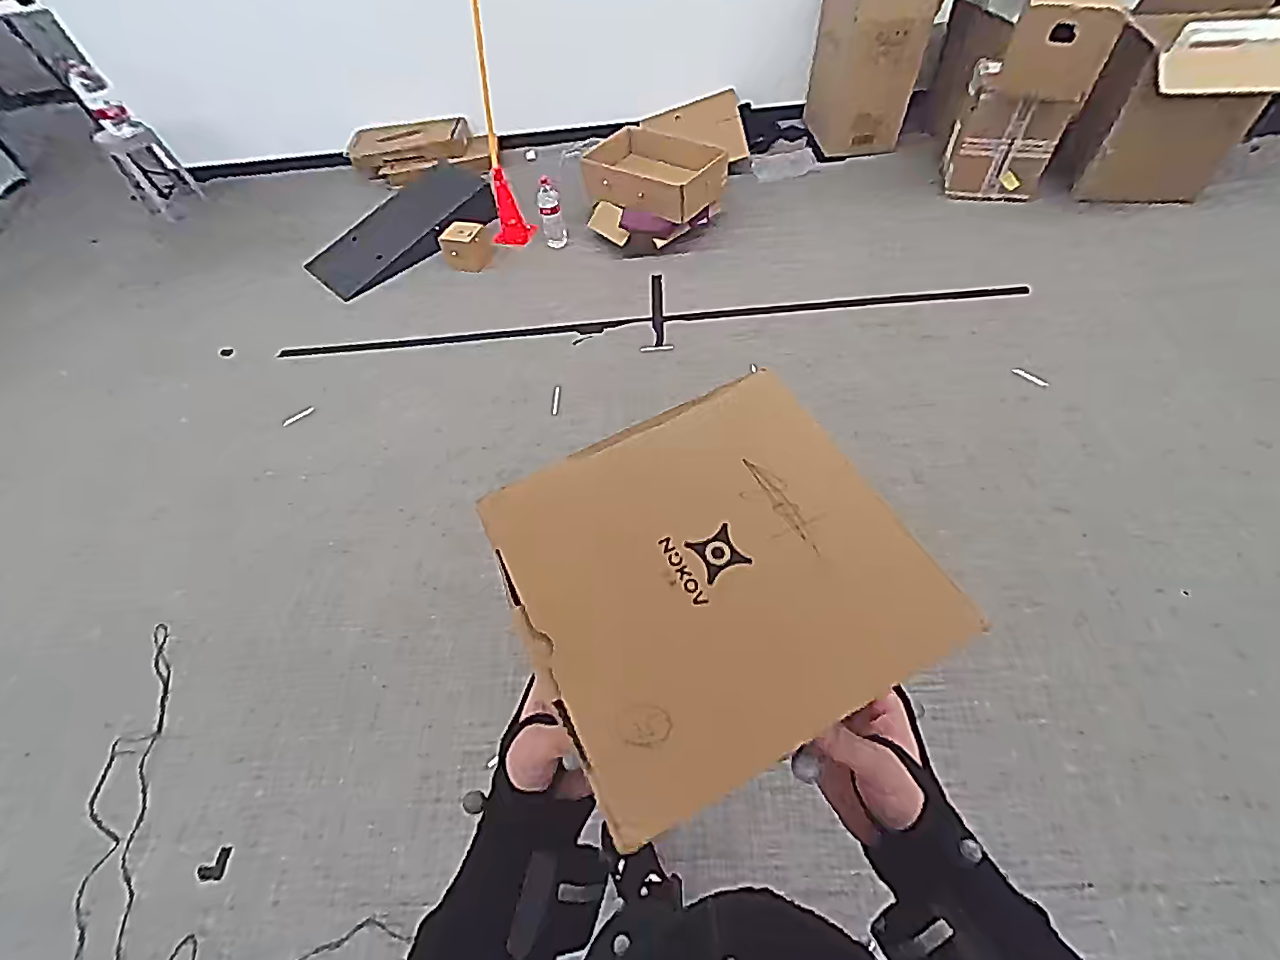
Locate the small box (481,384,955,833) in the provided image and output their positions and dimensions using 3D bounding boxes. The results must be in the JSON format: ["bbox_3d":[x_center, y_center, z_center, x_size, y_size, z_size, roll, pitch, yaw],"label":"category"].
[{"bbox_3d":[0.033,0.081,0.328,0.179,0.176,0.168,-26,62,-13],"label":"small box"}]
